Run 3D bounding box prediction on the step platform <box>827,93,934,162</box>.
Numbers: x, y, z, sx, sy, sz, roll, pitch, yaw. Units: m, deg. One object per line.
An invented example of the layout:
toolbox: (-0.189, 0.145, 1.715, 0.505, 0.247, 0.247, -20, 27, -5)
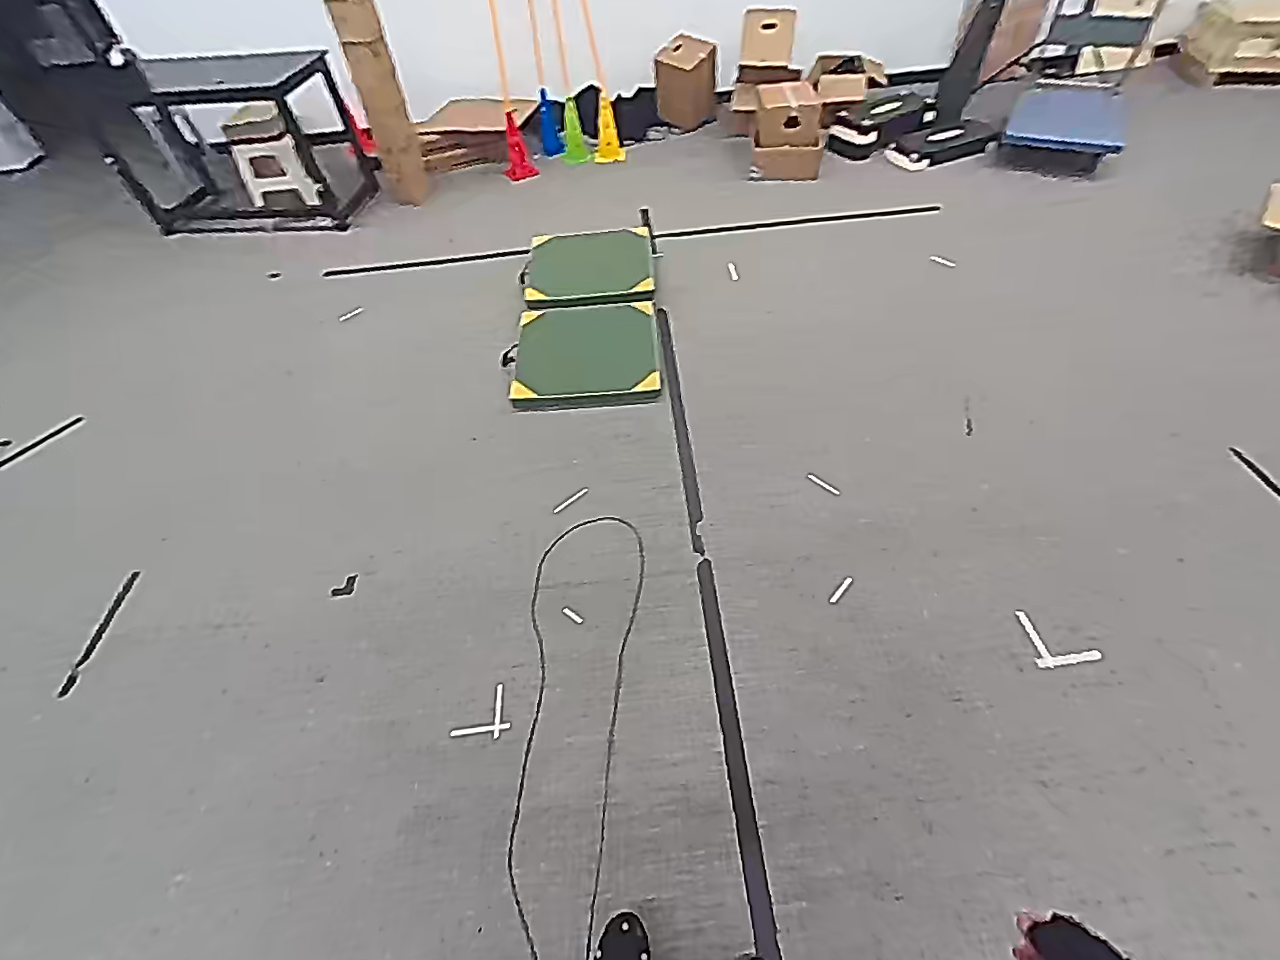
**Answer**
step platform: (1.541, -2.263, 3.459, 0.684, 0.204, 0.286, -29, 55, -17)
